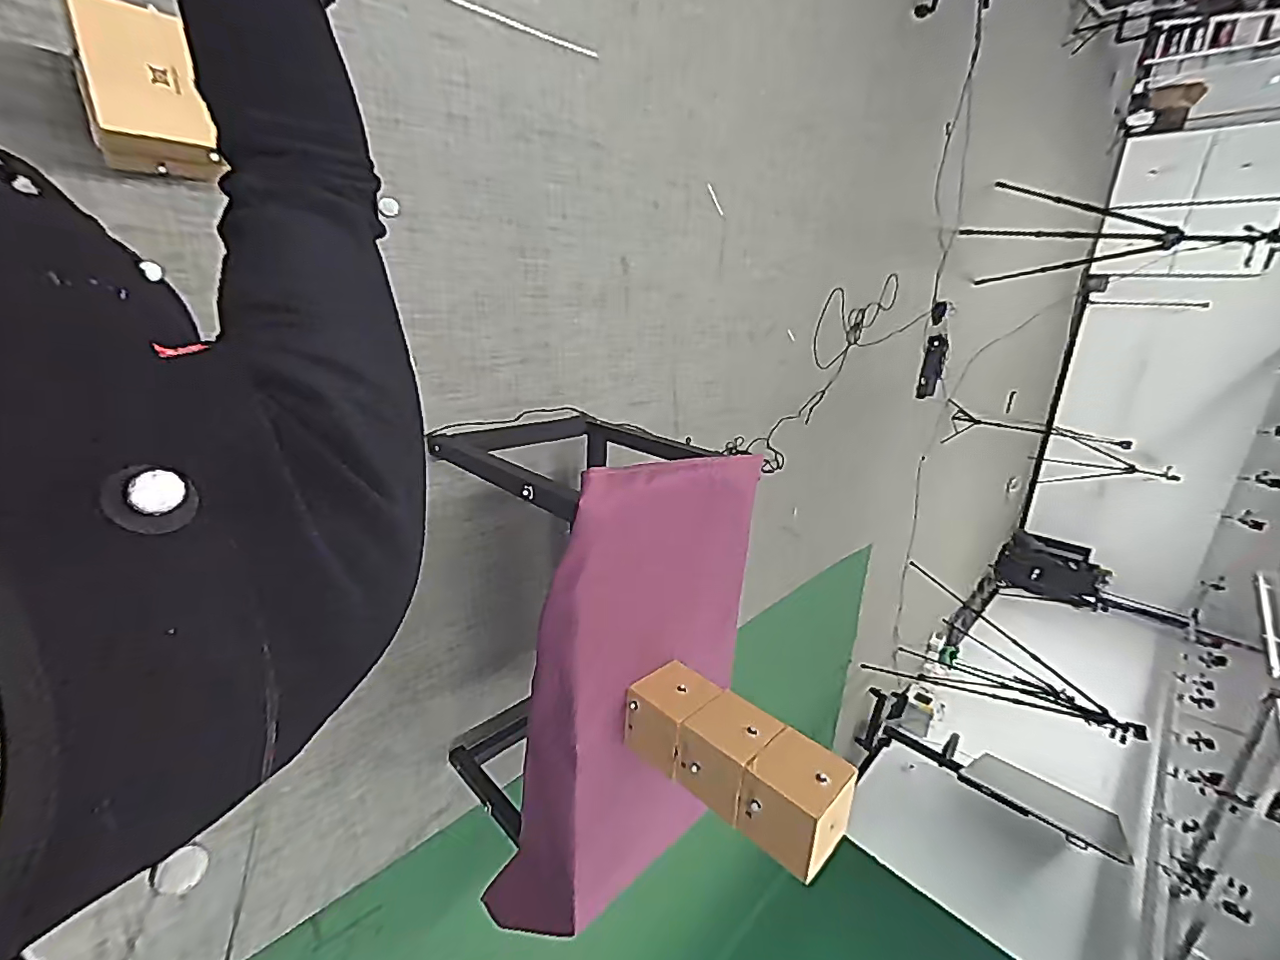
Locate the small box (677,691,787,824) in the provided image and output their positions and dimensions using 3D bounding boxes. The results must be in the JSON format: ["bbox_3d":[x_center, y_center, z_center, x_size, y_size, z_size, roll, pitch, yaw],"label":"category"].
[{"bbox_3d":[0.206,0.614,1.224,0.179,0.176,0.168,-13,113,-43],"label":"small box"}]

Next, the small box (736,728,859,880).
[{"bbox_3d":[0.323,0.654,1.119,0.179,0.176,0.168,-13,113,-43],"label":"small box"}]

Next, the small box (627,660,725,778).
[{"bbox_3d":[0.084,0.576,1.329,0.179,0.176,0.168,-13,114,-44],"label":"small box"}]

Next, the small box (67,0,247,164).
[{"bbox_3d":[-0.754,-0.612,0.851,0.179,0.176,0.168,-17,116,-43],"label":"small box"}]
